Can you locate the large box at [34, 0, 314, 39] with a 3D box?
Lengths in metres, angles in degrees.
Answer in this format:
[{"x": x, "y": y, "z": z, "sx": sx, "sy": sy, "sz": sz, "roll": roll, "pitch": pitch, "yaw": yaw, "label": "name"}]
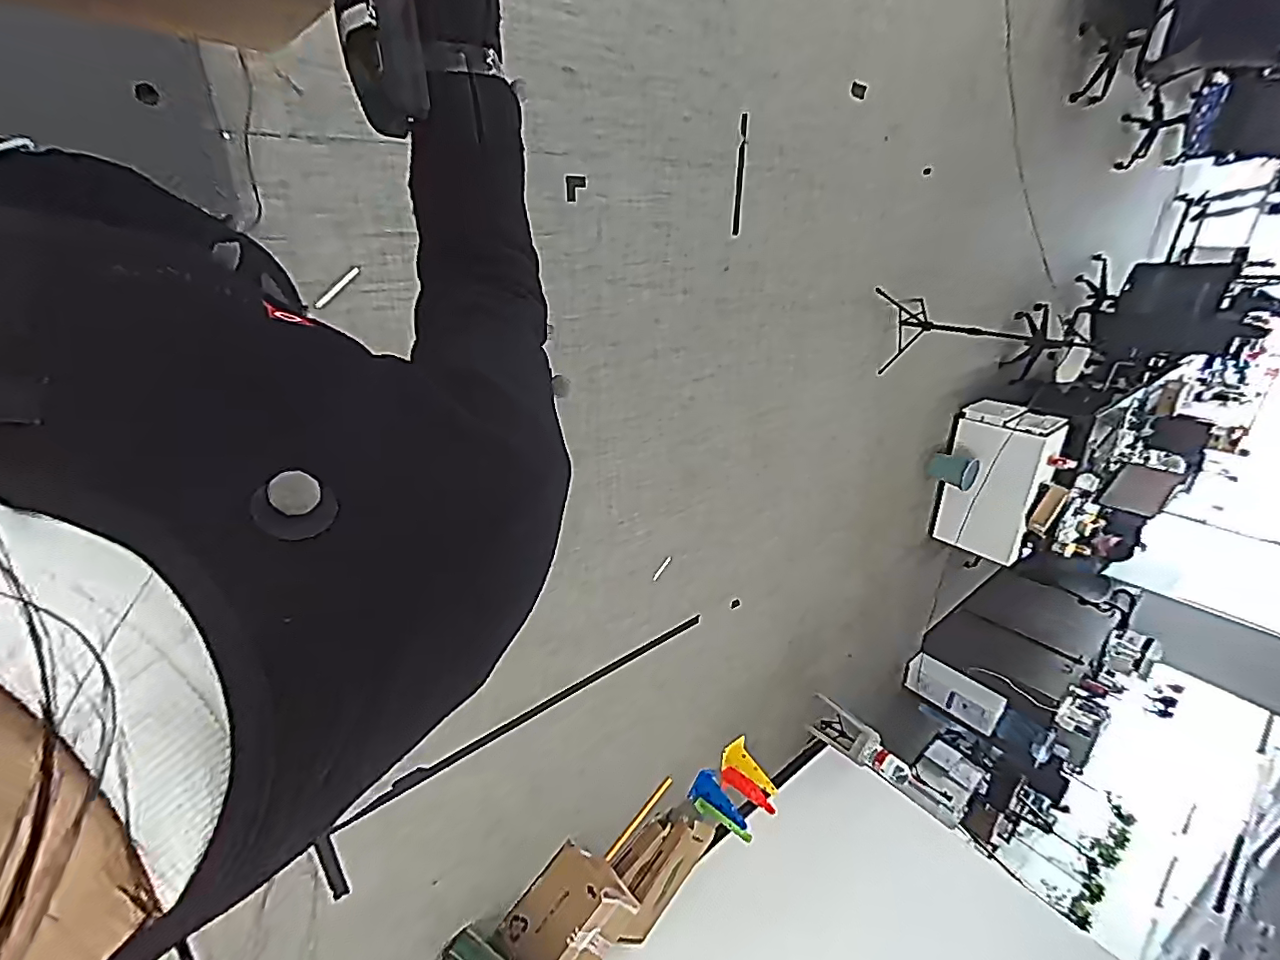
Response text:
[{"x": -0.387, "y": -0.425, "z": 0.213, "sx": 0.408, "sy": 0.320, "sz": 0.320, "roll": -18, "pitch": 126, "yaw": -35, "label": "large box"}]
